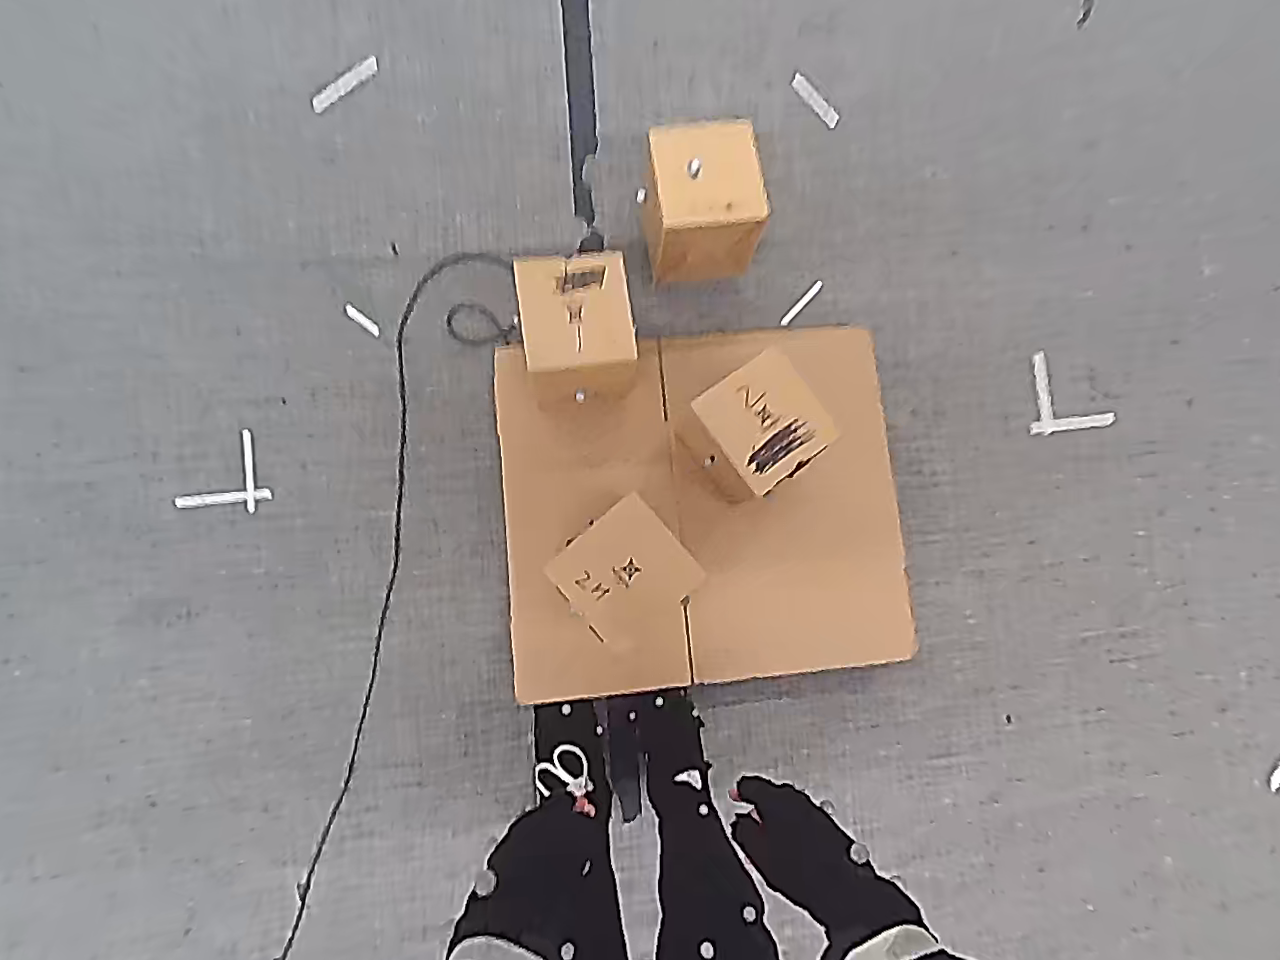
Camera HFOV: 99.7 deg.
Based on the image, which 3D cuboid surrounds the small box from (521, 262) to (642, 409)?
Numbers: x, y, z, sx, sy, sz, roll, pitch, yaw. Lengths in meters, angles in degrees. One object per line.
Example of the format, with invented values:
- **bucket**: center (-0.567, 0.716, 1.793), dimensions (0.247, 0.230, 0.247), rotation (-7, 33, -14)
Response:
- **small box**: center (-0.097, -0.230, 0.889), dimensions (0.168, 0.176, 0.179), rotation (-8, 82, -7)

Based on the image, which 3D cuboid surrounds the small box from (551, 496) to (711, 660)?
- **small box**: center (-0.021, 0.147, 0.848), dimensions (0.179, 0.176, 0.168), rotation (-40, 87, -9)
